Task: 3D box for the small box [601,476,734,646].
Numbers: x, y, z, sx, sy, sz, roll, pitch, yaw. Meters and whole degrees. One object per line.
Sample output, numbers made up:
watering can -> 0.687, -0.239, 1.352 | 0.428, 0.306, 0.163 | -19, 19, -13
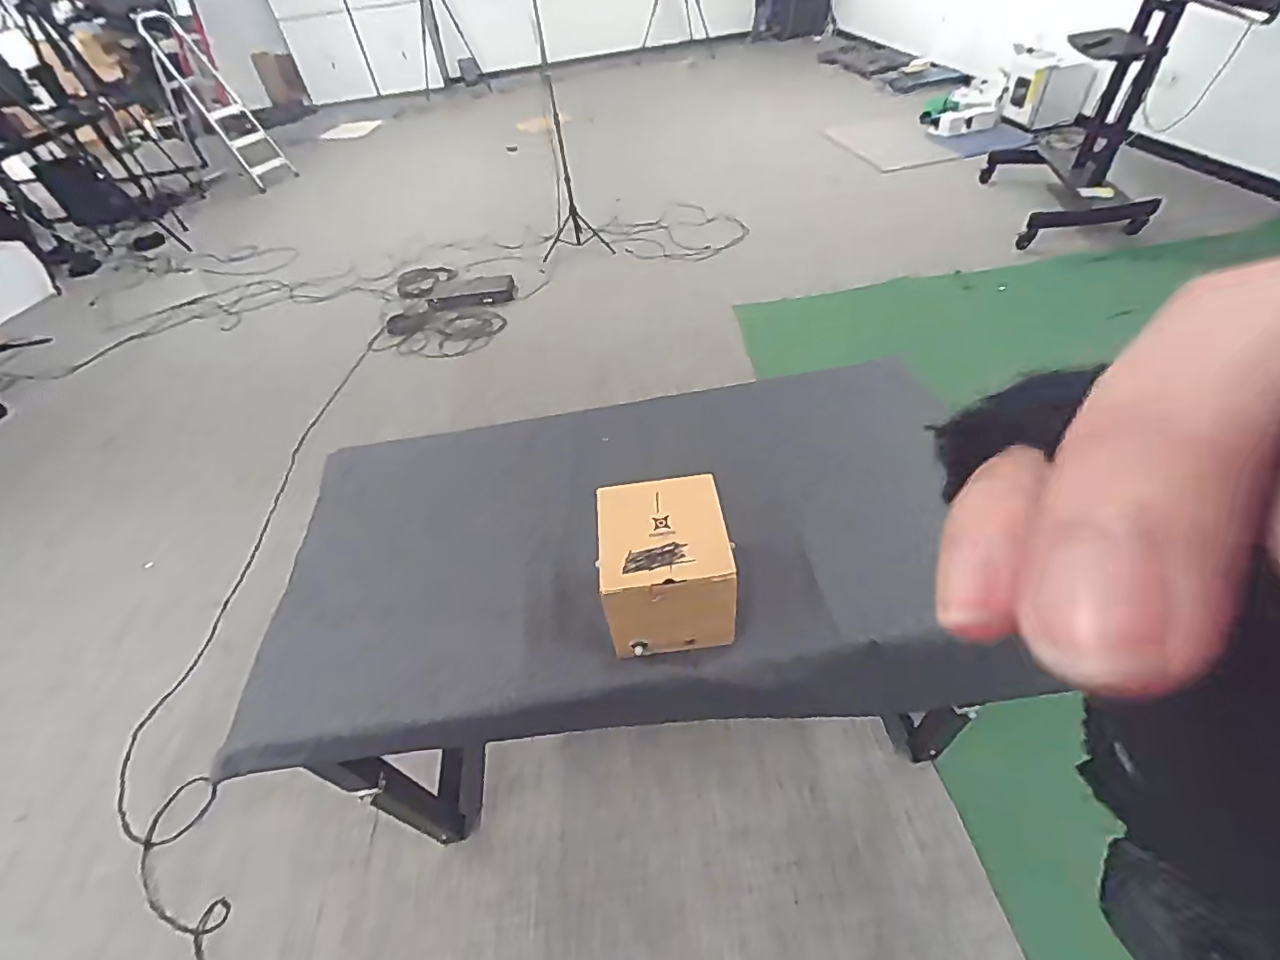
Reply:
small box -> 0.038, 0.121, 0.767 | 0.168, 0.176, 0.179 | -6, 45, 1
